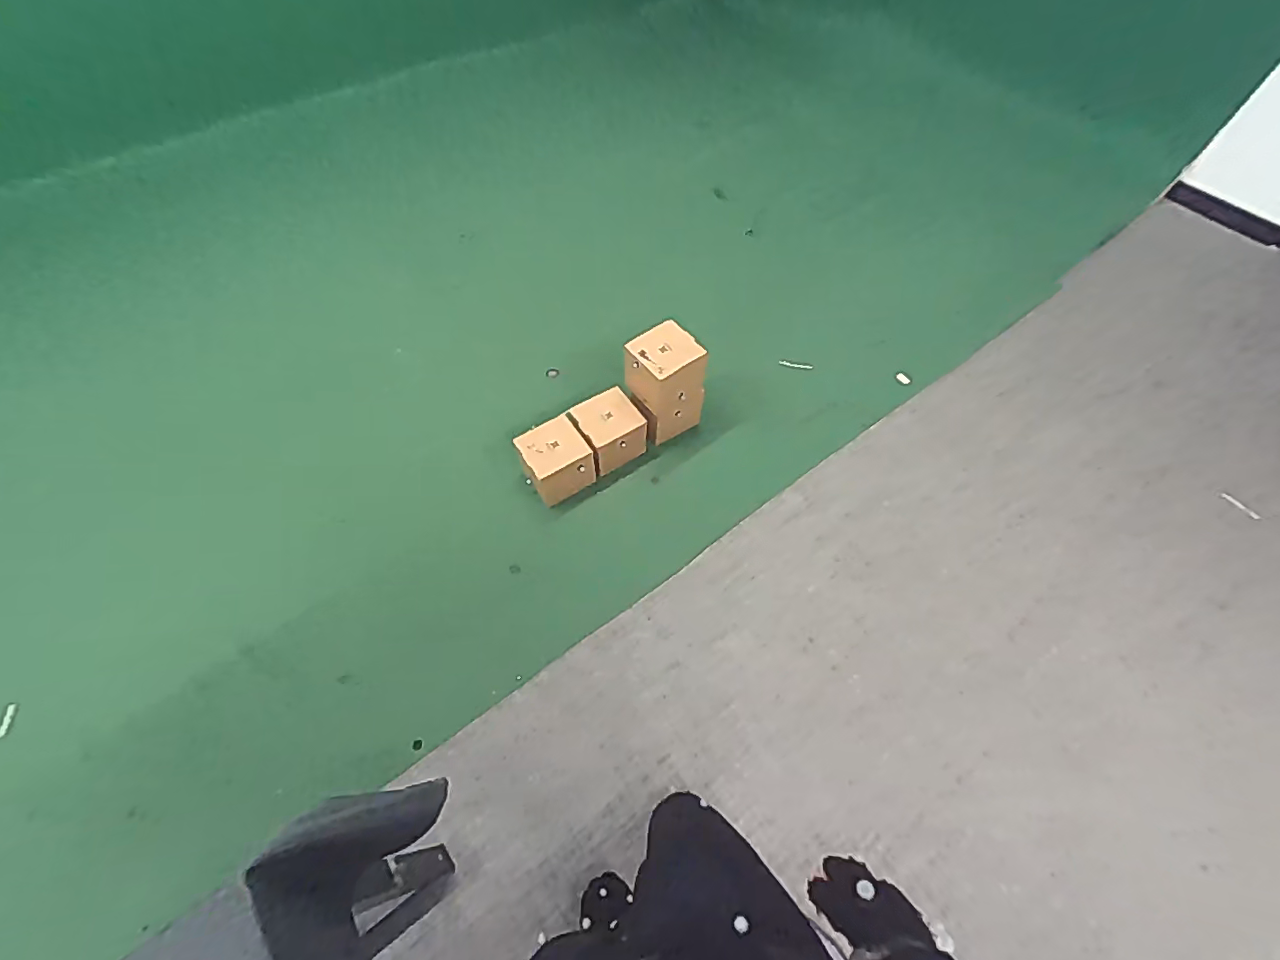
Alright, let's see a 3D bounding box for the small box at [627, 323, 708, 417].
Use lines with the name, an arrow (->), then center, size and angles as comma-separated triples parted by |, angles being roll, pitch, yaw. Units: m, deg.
small box -> 0.073, -0.320, 1.589 | 0.179, 0.176, 0.168 | -32, 65, -19
